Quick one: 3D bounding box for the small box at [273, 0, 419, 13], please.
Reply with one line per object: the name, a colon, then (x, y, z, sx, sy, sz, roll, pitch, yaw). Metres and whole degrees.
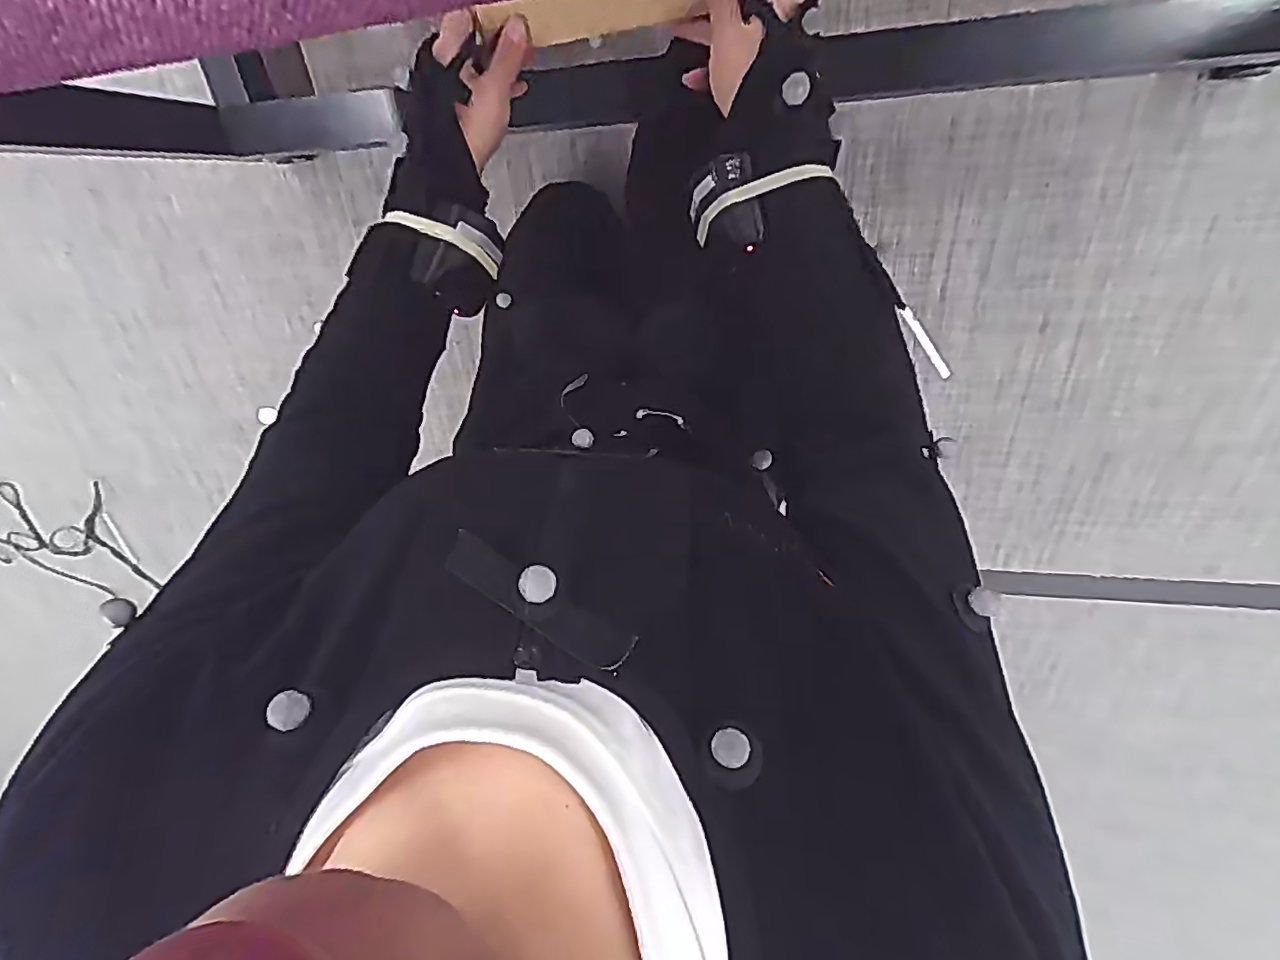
small box: (-0.282, -0.527, 0.458, 0.179, 0.176, 0.168, 0, 121, 9)
